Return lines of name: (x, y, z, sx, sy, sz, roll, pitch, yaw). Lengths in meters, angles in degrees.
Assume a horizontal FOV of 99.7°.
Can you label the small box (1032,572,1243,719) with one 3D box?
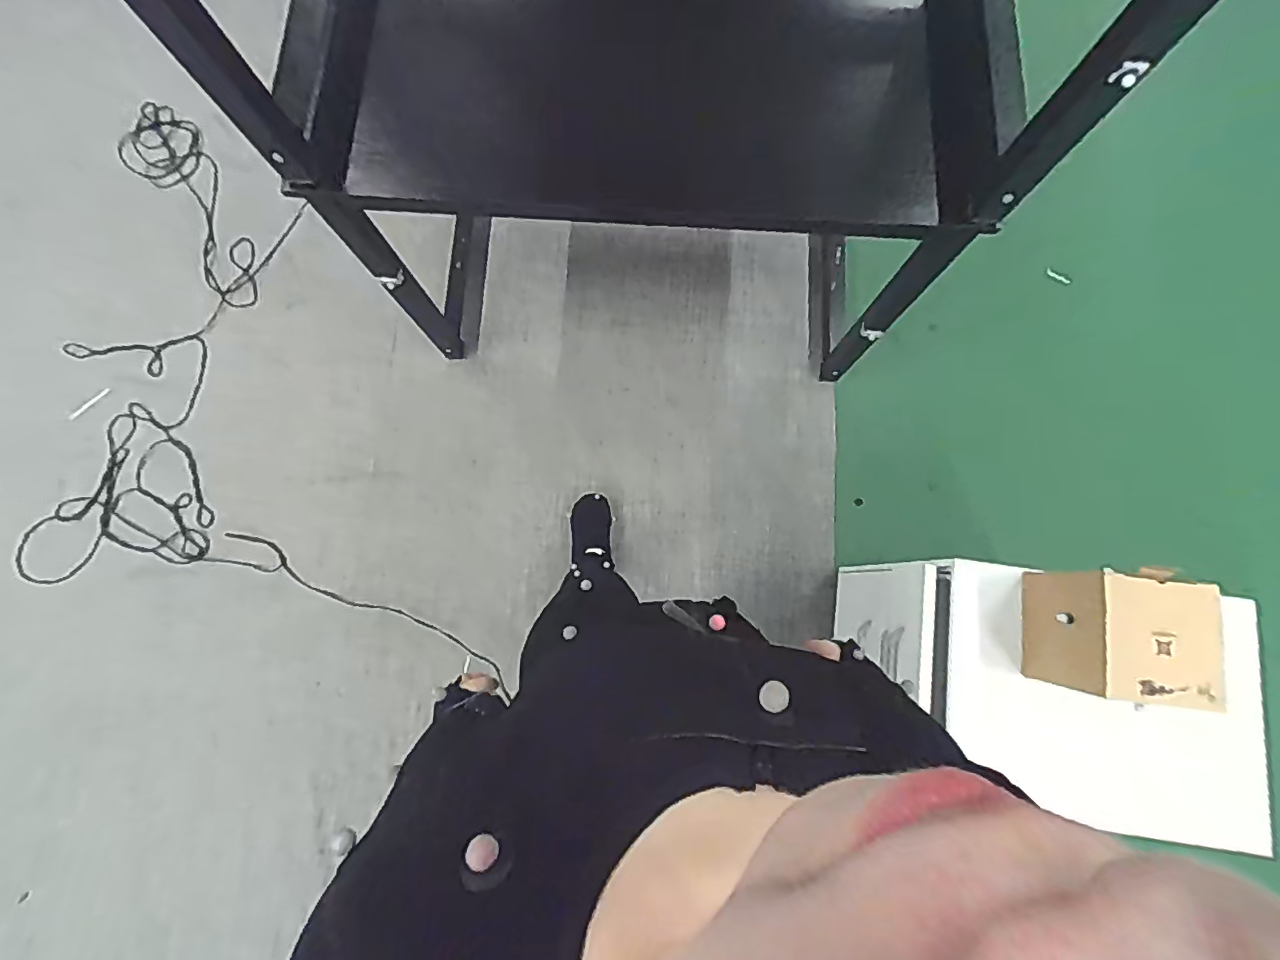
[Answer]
small box: (0.722, 0.236, 0.807, 0.168, 0.176, 0.179, 6, 80, 2)
